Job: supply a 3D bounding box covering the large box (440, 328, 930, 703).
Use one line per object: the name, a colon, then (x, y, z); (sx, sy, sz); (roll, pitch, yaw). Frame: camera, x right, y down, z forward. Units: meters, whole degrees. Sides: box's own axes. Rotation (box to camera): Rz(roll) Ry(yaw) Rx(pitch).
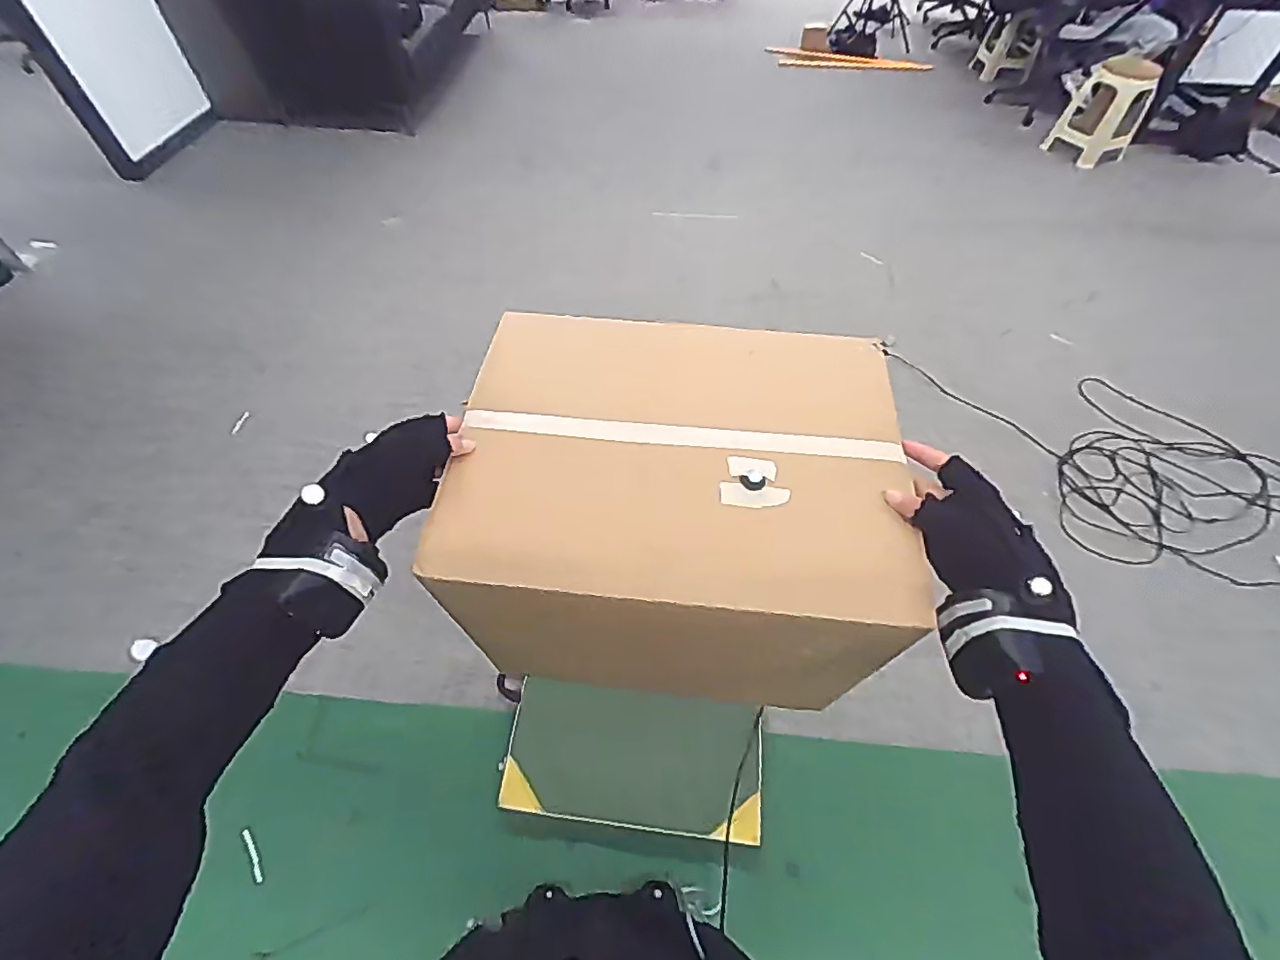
large box: (0.042, 0.054, 0.635); (0.408, 0.320, 0.320); (5, 57, 3)
